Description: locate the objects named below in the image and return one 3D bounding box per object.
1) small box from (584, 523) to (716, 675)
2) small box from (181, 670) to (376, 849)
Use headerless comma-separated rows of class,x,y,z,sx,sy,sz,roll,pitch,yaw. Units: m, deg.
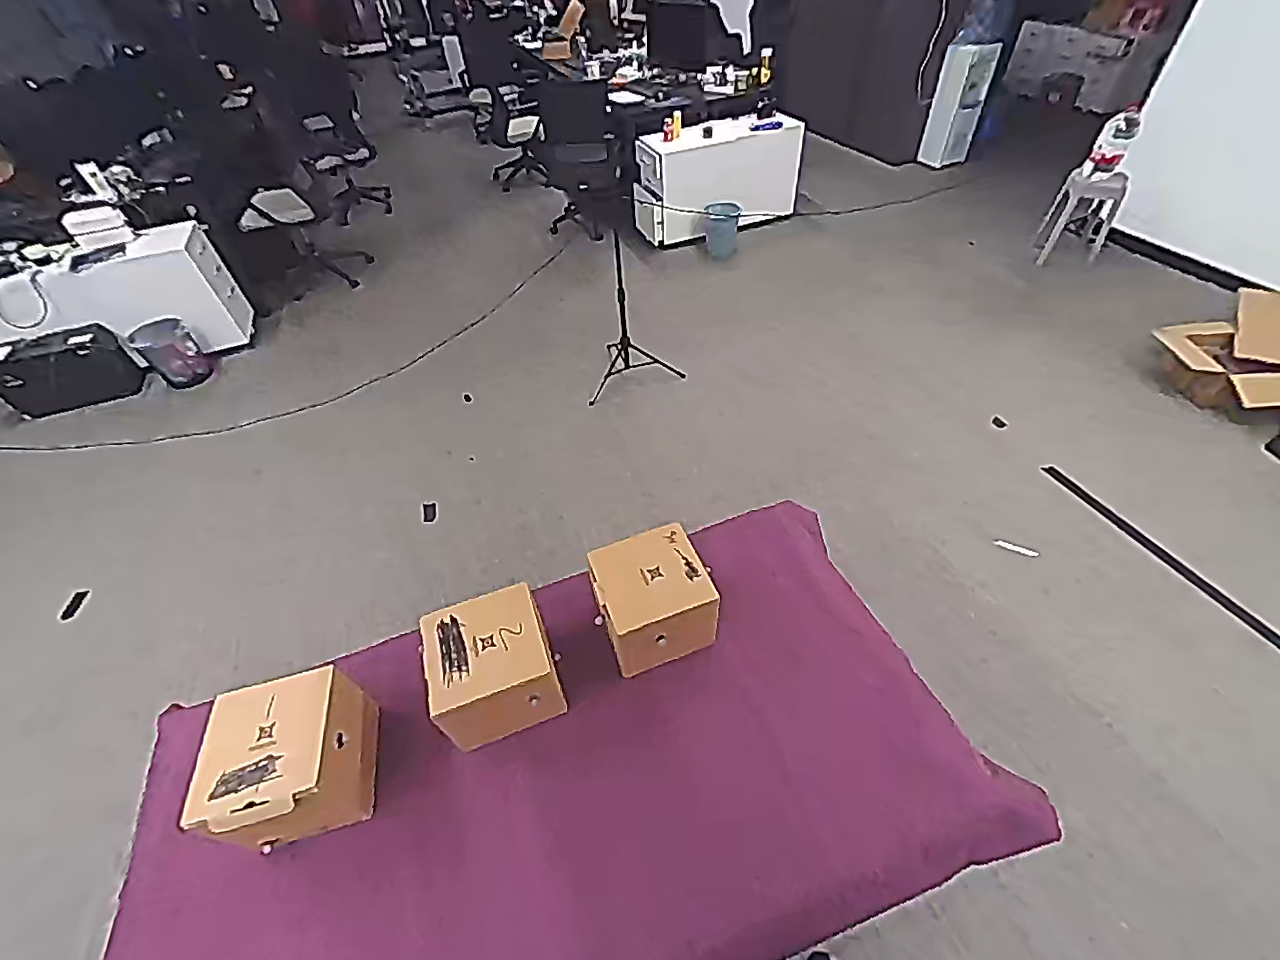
small box,0.020,0.208,0.932,0.179,0.176,0.168,-18,50,-11
small box,-0.504,0.413,0.789,0.168,0.176,0.179,-14,47,-8
